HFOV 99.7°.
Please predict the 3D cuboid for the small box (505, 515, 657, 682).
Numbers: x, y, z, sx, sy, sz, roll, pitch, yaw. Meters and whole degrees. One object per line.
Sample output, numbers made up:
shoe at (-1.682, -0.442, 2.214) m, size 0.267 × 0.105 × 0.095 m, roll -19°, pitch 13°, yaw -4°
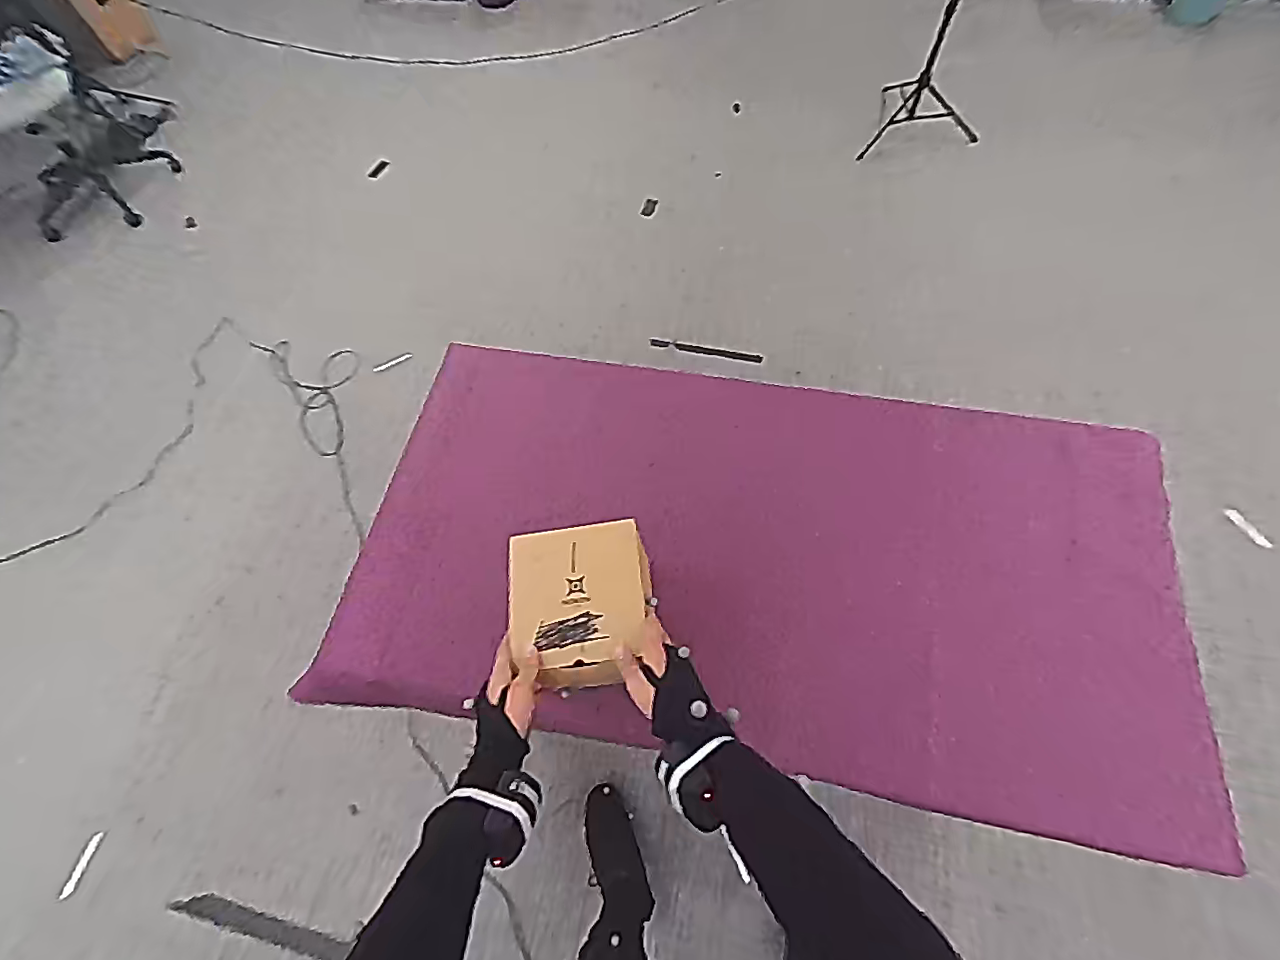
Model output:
small box at (-0.072, 0.166, 0.721) m, size 0.168 × 0.176 × 0.179 m, roll -8°, pitch 62°, yaw 3°
